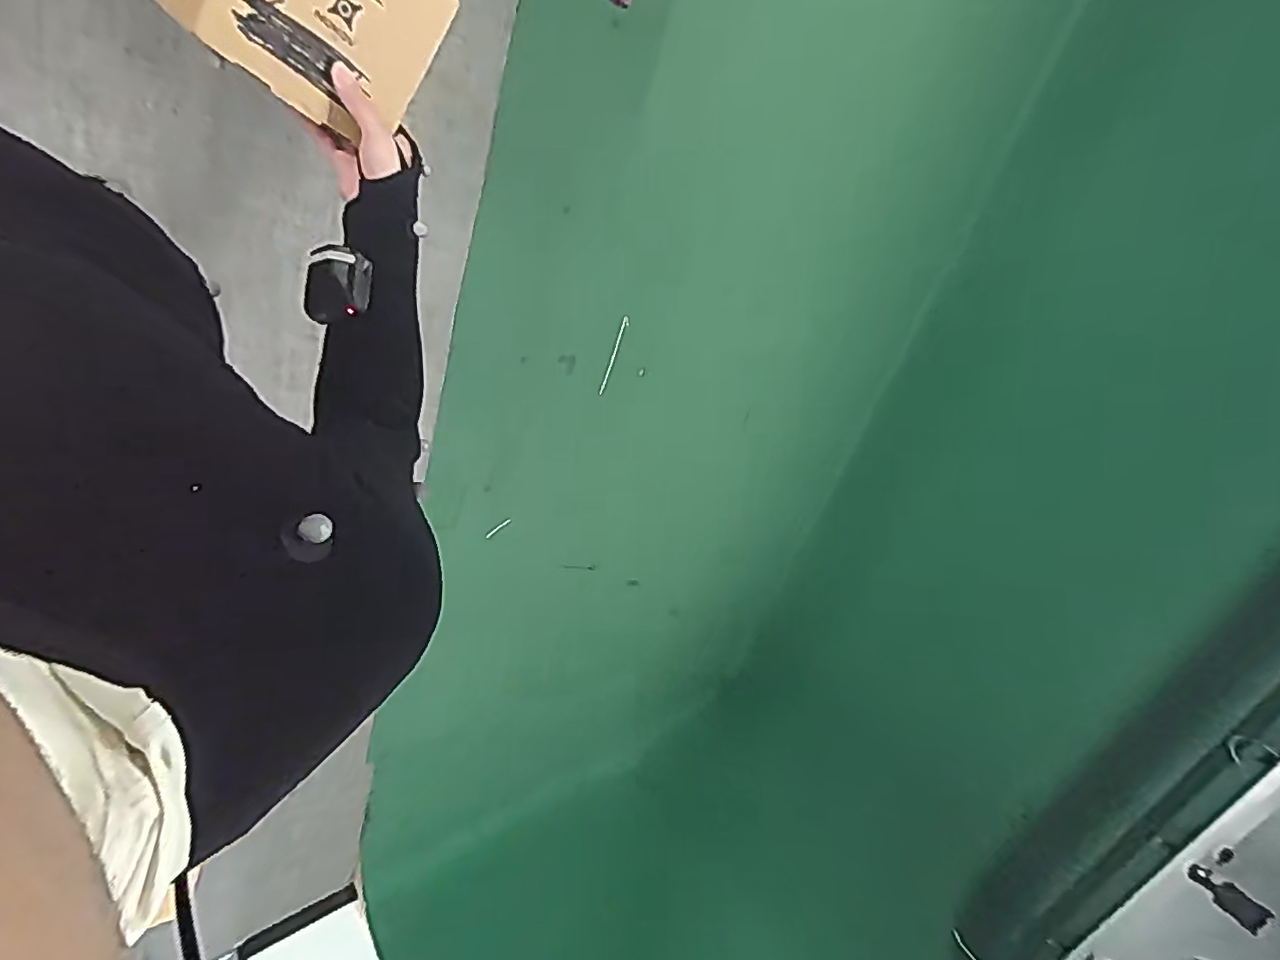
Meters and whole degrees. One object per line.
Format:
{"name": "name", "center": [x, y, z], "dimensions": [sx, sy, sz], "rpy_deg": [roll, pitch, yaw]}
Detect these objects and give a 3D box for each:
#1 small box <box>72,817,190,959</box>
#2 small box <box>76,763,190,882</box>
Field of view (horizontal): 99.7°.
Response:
{"name": "small box", "center": [-1.121, 0.896, 1.193], "dimensions": [0.168, 0.176, 0.179], "rpy_deg": [7, 113, -48]}
{"name": "small box", "center": [-1.220, 0.820, 1.300], "dimensions": [0.179, 0.176, 0.168], "rpy_deg": [8, 113, -48]}
